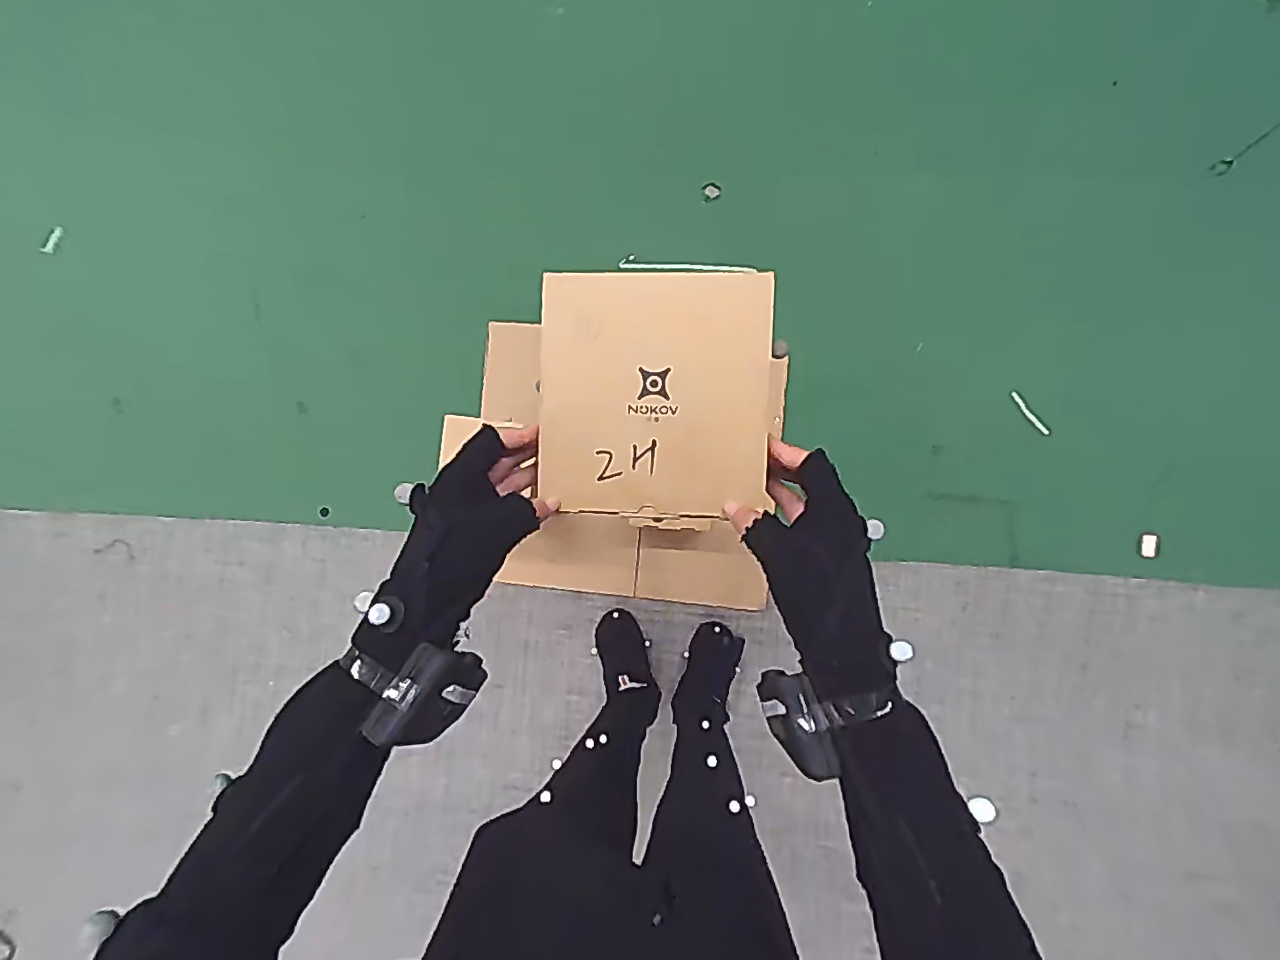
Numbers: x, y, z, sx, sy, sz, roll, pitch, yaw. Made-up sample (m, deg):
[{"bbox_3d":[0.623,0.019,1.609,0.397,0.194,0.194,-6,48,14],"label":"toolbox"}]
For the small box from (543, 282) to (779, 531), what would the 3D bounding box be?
[{"bbox_3d":[0.021,-0.056,0.467,0.168,0.176,0.179,2,92,7],"label":"small box"}]

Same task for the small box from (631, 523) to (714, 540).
[{"bbox_3d":[0.075,0.029,1.148,0.168,0.176,0.179,3,89,5],"label":"small box"}]

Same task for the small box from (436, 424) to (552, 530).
[{"bbox_3d":[-0.250,-0.005,1.009,0.179,0.176,0.168,8,89,7],"label":"small box"}]
